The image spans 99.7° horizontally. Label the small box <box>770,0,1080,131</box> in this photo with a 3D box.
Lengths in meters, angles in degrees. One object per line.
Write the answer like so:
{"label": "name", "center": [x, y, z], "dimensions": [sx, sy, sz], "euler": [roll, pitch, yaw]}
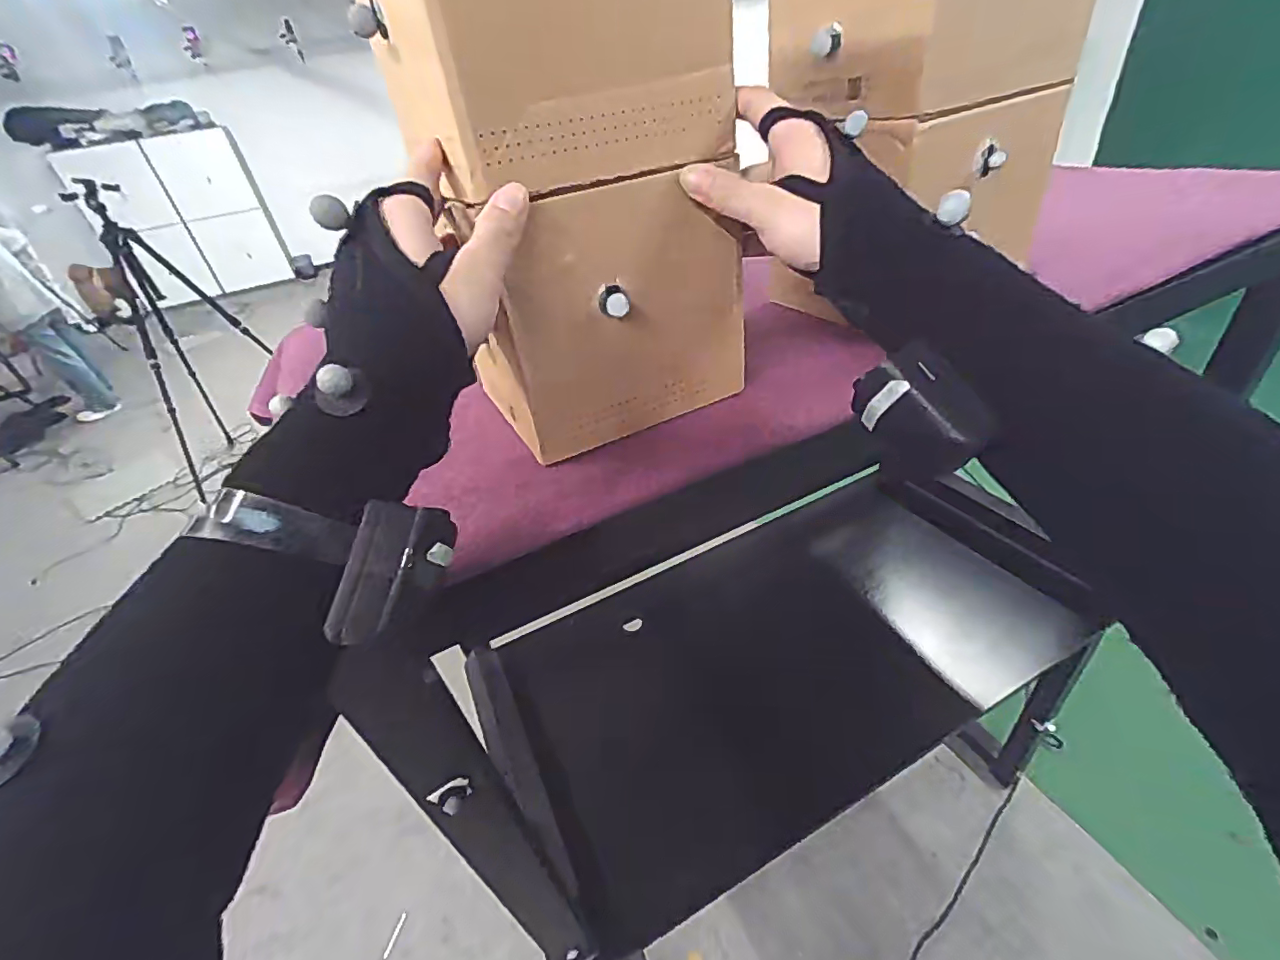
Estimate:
{"label": "small box", "center": [0.213, -0.380, 0.414], "dimensions": [0.179, 0.176, 0.168], "euler": [-25, 38, -17]}

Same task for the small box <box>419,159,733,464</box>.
{"label": "small box", "center": [-0.043, -0.136, 0.420], "dimensions": [0.179, 0.176, 0.168], "euler": [-24, 38, -18]}

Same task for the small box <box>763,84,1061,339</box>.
{"label": "small box", "center": [0.237, -0.249, 0.509], "dimensions": [0.179, 0.176, 0.168], "euler": [-23, 38, -18]}

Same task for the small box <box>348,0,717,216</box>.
{"label": "small box", "center": [-0.068, -0.269, 0.328], "dimensions": [0.179, 0.176, 0.168], "euler": [-23, 37, -20]}
